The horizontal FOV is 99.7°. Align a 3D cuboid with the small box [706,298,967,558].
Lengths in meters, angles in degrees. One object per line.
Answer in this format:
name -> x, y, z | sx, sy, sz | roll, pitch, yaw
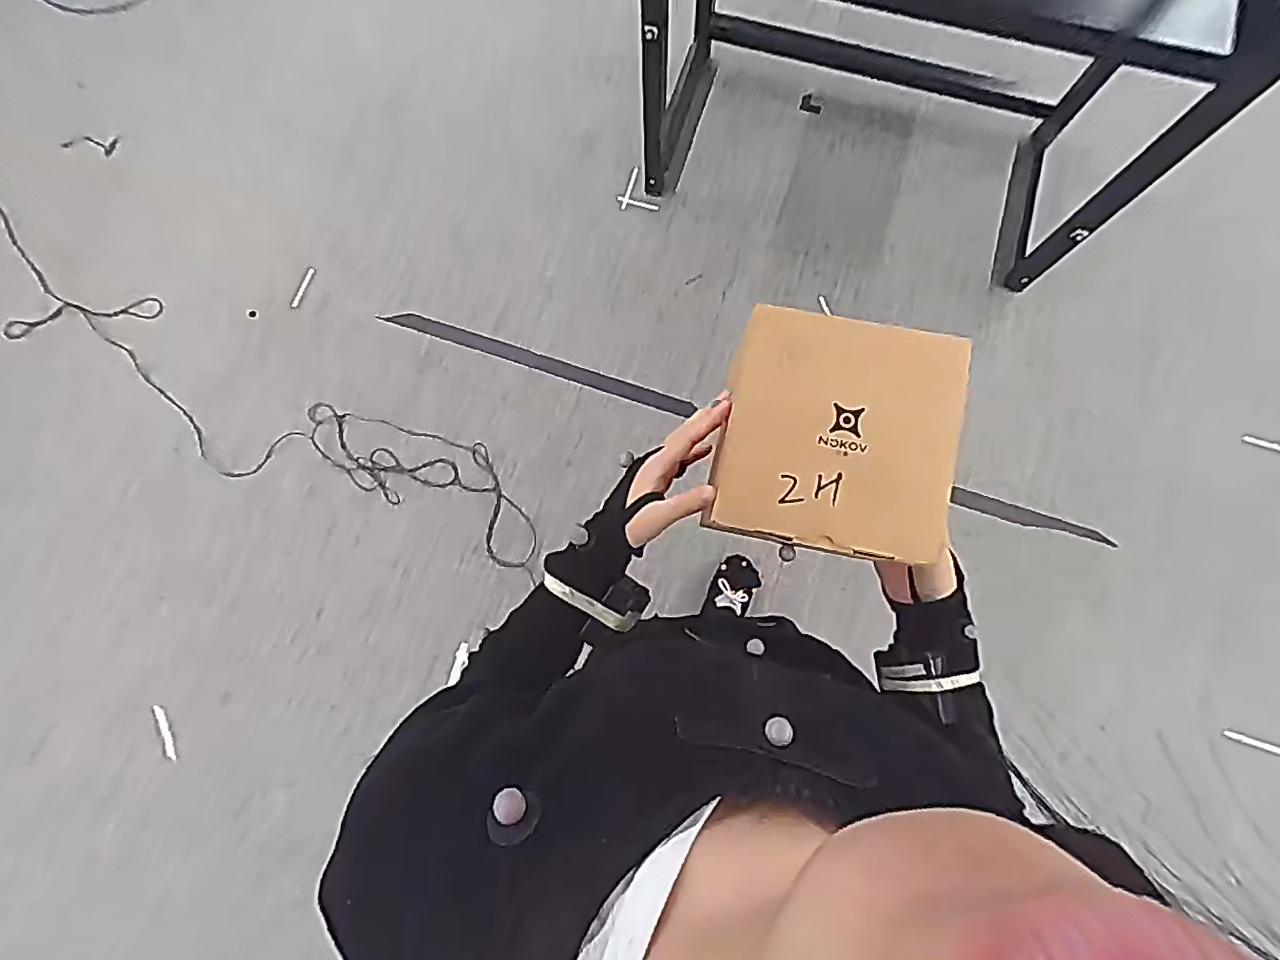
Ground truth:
small box -> 0.157, -0.035, 0.488 | 0.168, 0.176, 0.179 | 11, 85, 4
